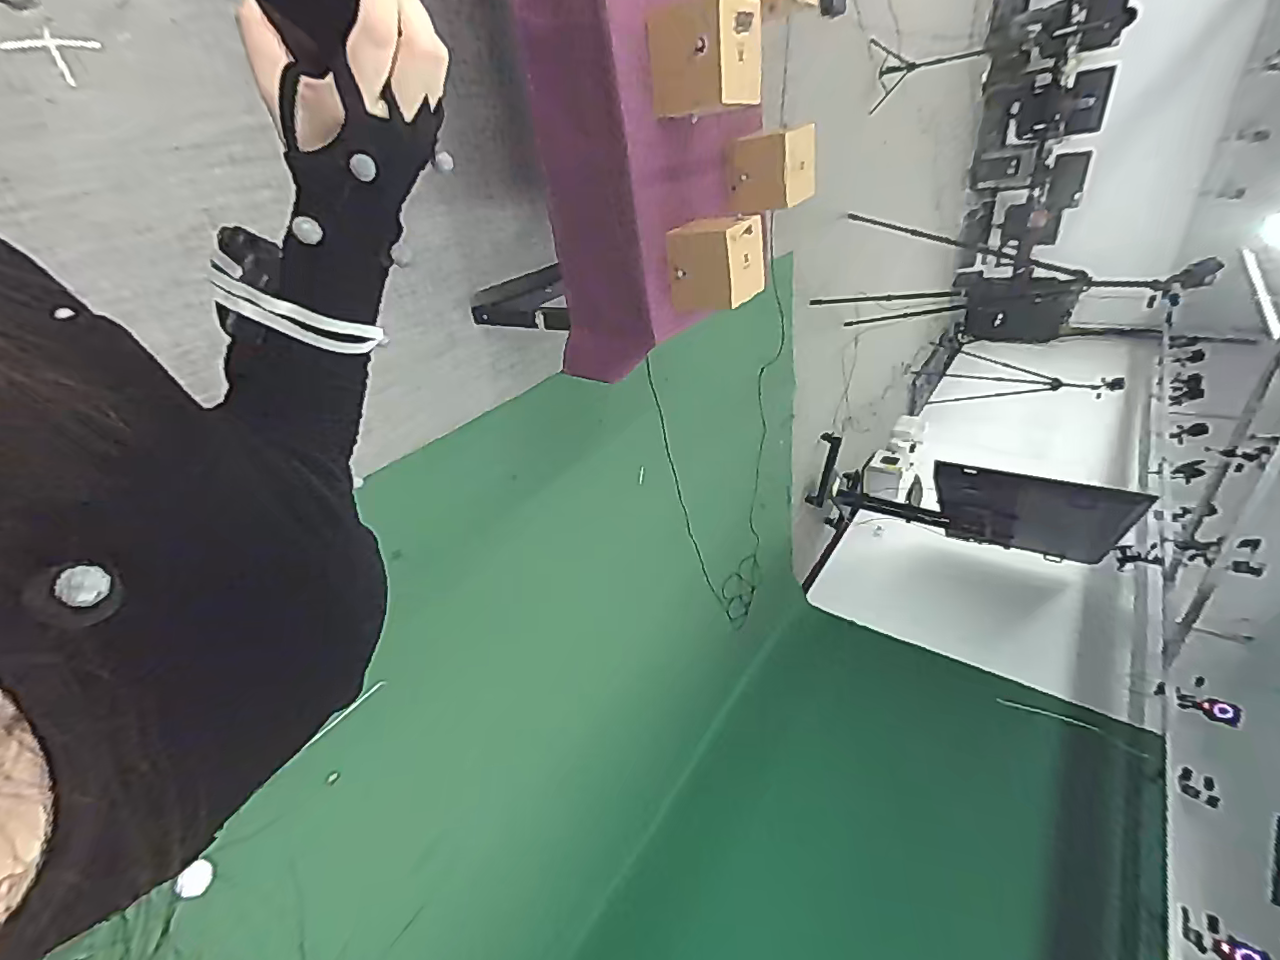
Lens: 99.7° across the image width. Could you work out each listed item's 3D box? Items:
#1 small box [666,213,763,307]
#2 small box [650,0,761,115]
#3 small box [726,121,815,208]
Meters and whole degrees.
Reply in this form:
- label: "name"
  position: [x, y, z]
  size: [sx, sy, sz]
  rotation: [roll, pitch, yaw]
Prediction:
- label: "small box"
  position: [0.180, -0.529, 1.296]
  size: [0.168, 0.176, 0.179]
  rotation: [-41, 133, -38]
- label: "small box"
  position: [0.134, -0.866, 1.105]
  size: [0.168, 0.176, 0.179]
  rotation: [-37, 131, -41]
- label: "small box"
  position: [0.339, -0.816, 1.403]
  size: [0.179, 0.176, 0.168]
  rotation: [-42, 133, -37]
